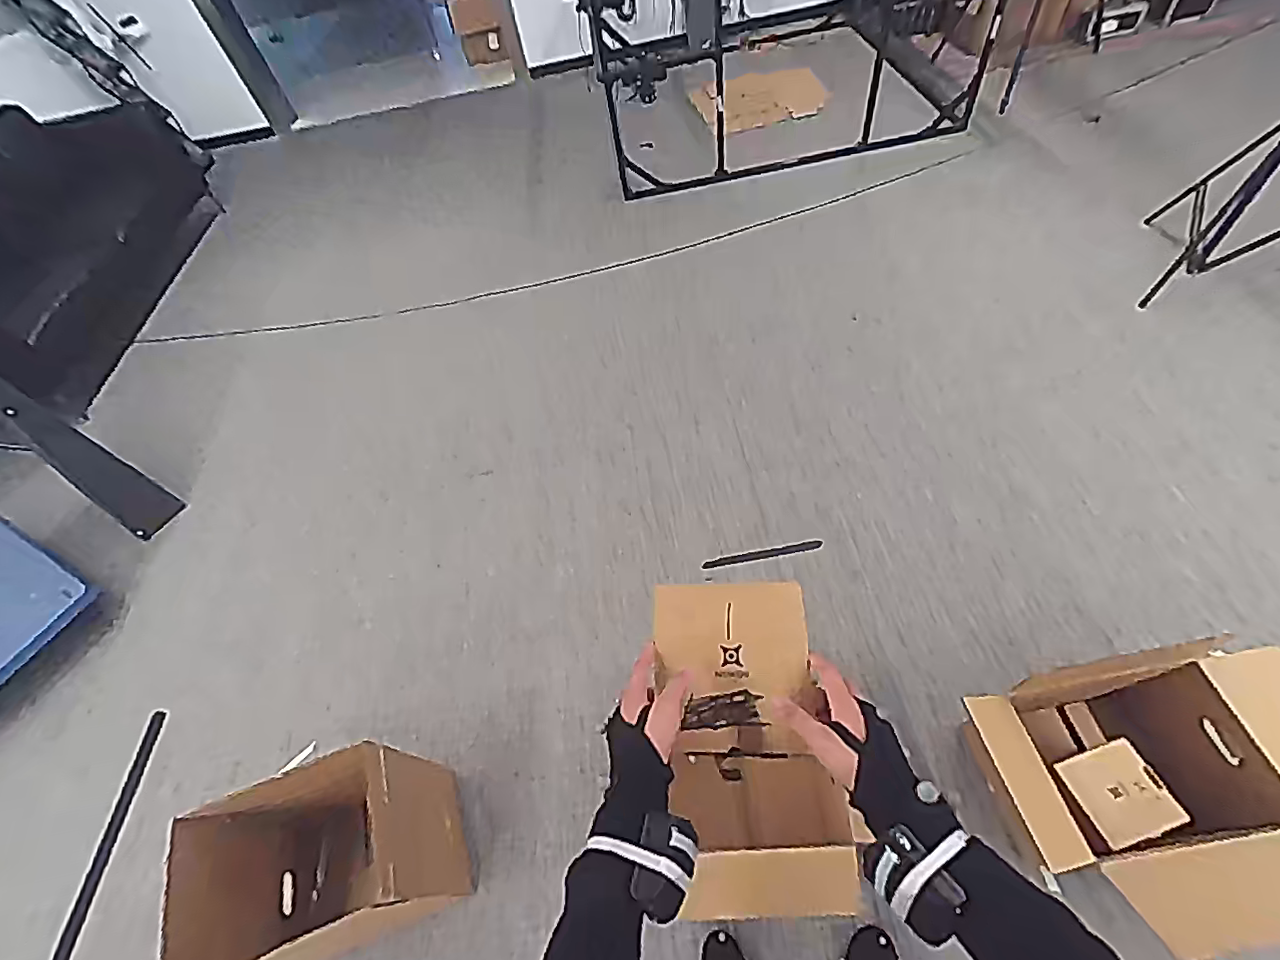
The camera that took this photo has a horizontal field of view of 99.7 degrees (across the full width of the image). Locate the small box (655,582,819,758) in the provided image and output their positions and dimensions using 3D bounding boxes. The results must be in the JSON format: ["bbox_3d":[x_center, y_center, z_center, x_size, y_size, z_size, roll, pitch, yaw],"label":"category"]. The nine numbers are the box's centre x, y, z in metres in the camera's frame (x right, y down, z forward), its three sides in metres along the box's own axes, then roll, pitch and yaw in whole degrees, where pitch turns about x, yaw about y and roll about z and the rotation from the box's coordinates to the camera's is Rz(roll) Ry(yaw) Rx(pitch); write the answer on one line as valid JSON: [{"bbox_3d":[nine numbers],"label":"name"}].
[{"bbox_3d":[0.110,0.228,0.644,0.168,0.176,0.179,-3,64,8],"label":"small box"}]
